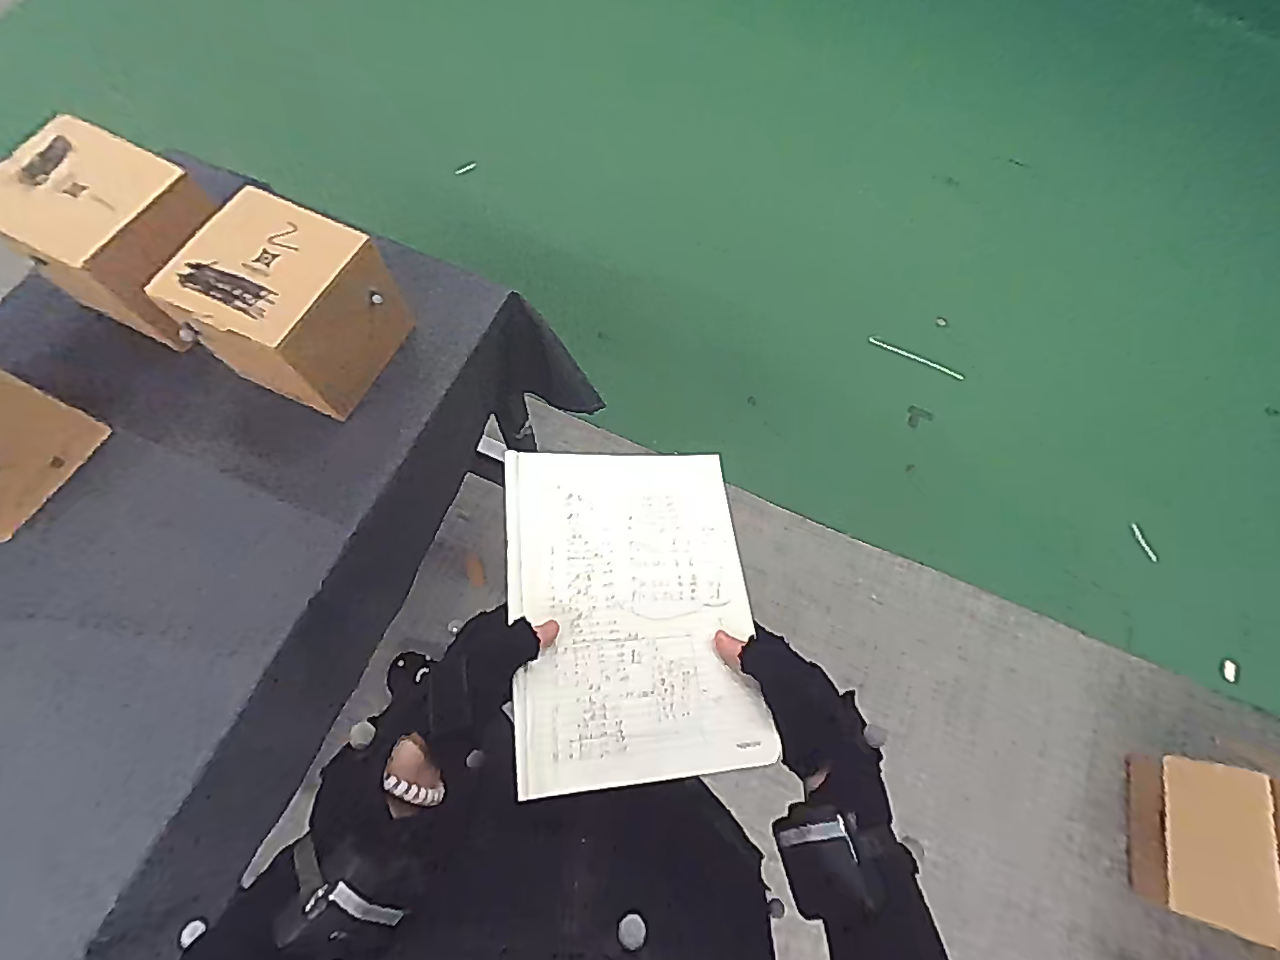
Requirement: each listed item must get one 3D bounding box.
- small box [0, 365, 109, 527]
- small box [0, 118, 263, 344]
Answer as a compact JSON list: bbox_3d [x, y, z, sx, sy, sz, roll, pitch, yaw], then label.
[{"bbox_3d":[-0.769,-0.061,0.594,0.179,0.176,0.168,26,70,5],"label":"small box"},{"bbox_3d":[-0.647,-0.305,0.691,0.179,0.176,0.168,26,70,4],"label":"small box"}]
